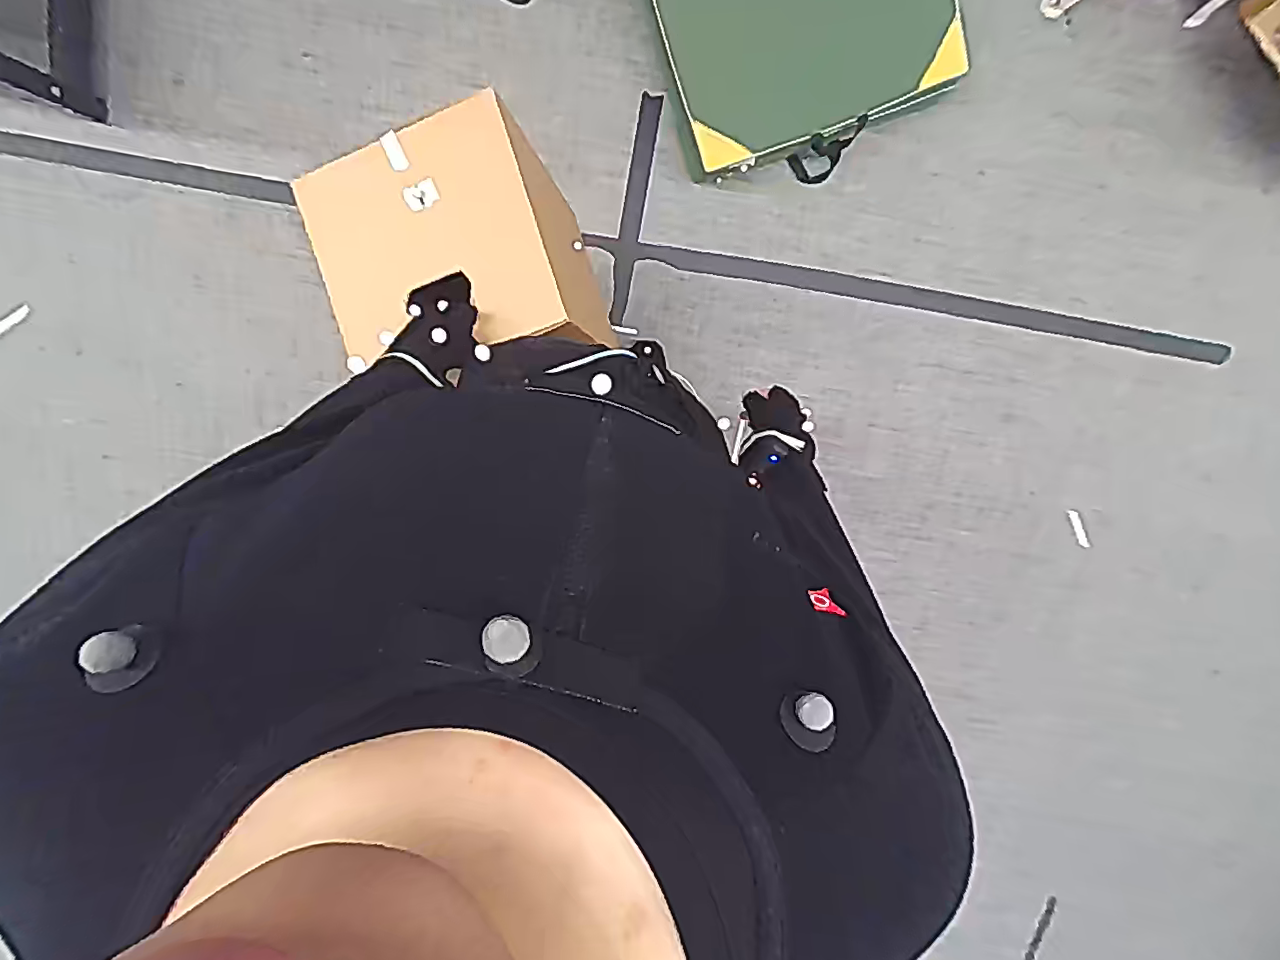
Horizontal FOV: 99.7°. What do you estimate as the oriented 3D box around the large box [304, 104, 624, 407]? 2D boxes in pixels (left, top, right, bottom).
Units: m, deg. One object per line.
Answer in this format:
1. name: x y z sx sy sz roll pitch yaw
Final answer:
1. large box: -0.254 -0.324 0.919 0.320 0.408 0.320 -16 92 11
